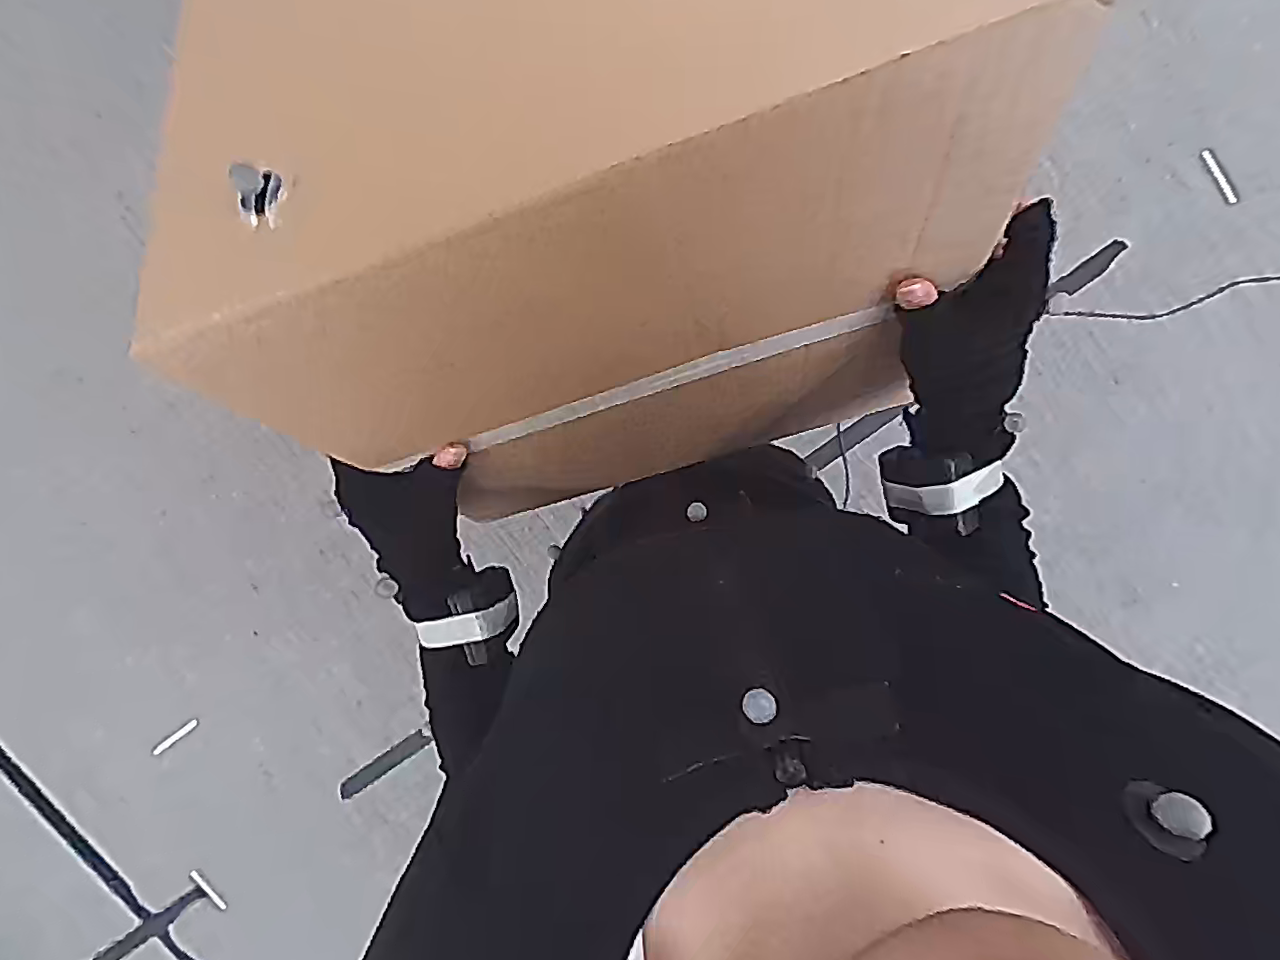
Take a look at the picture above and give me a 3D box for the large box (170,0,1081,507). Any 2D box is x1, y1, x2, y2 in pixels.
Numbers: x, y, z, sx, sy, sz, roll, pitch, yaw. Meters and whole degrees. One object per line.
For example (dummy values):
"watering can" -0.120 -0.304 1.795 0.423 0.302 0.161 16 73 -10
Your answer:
"large box" -0.028 -0.212 0.407 0.408 0.320 0.320 -16 70 8
